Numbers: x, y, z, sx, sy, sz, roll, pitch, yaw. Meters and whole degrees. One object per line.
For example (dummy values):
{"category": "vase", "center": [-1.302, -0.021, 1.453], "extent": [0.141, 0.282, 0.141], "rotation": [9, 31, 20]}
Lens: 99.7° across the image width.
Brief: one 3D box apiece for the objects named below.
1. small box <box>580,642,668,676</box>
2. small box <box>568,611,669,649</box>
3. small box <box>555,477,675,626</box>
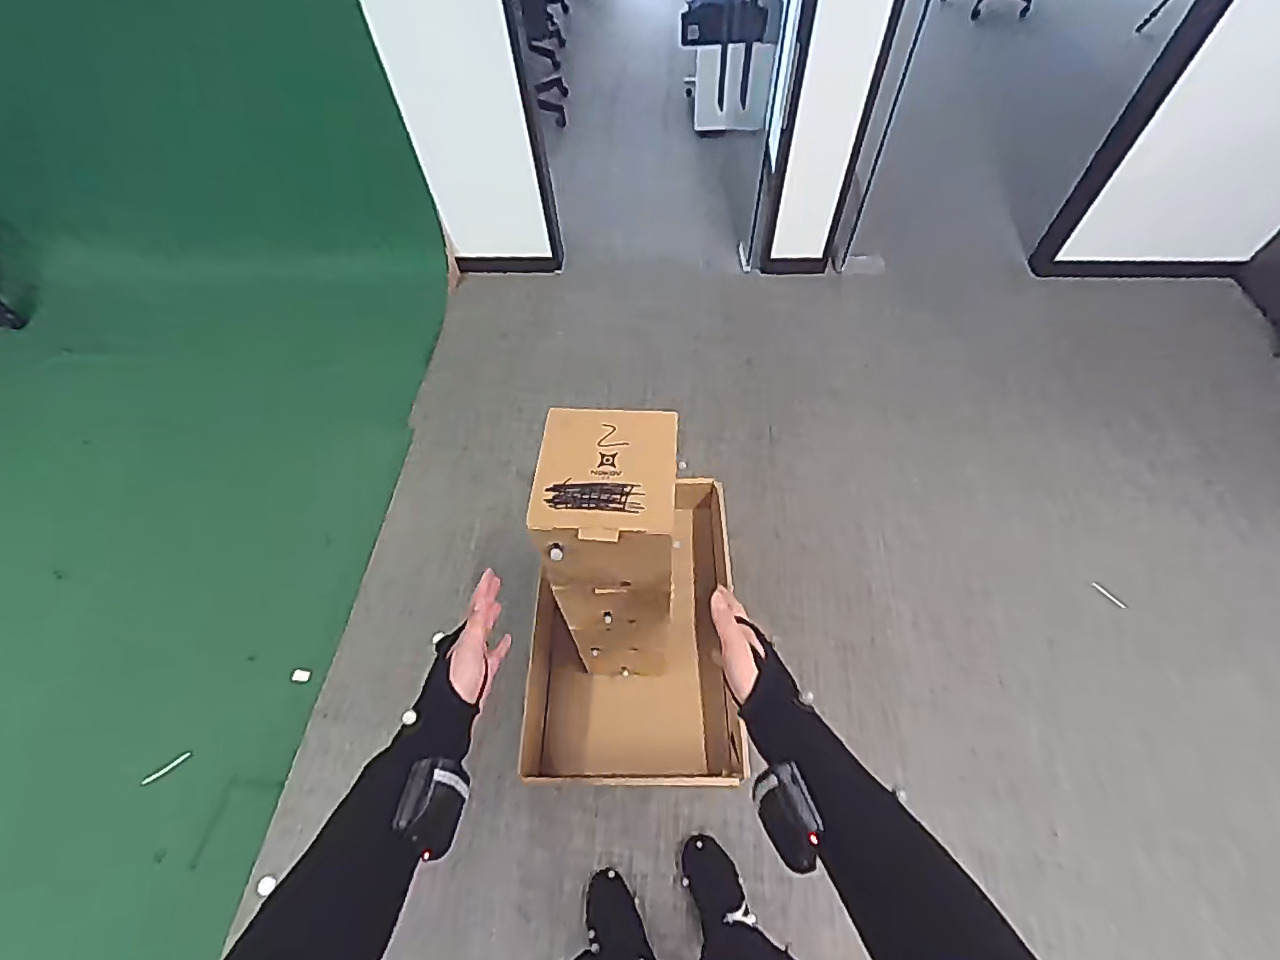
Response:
{"category": "small box", "center": [-0.026, 0.290, 1.111], "extent": [0.168, 0.176, 0.179], "rotation": [-1, 56, 3]}
{"category": "small box", "center": [-0.033, 0.200, 0.975], "extent": [0.168, 0.176, 0.179], "rotation": [-2, 55, 1]}
{"category": "small box", "center": [-0.035, 0.114, 0.838], "extent": [0.168, 0.176, 0.179], "rotation": [-2, 57, 0]}
